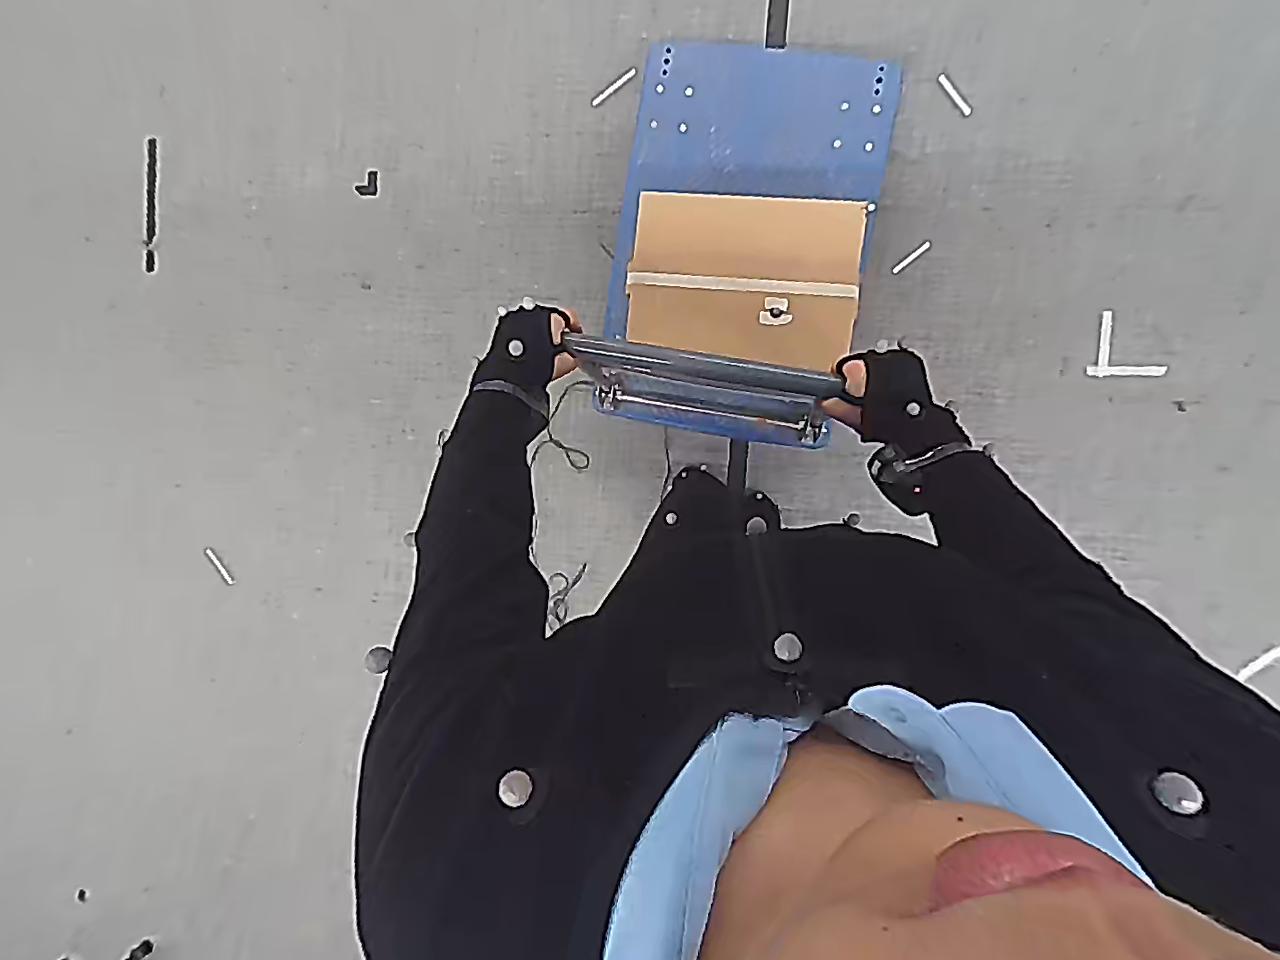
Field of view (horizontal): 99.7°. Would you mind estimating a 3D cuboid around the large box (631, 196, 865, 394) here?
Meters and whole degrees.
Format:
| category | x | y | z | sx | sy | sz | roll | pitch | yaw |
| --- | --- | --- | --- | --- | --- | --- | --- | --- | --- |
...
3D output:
| category | x | y | z | sx | sy | sz | roll | pitch | yaw |
| --- | --- | --- | --- | --- | --- | --- | --- | --- | --- |
| large box | 0.205 | -0.362 | 1.134 | 0.408 | 0.320 | 0.320 | 6 | 95 | 6 |
